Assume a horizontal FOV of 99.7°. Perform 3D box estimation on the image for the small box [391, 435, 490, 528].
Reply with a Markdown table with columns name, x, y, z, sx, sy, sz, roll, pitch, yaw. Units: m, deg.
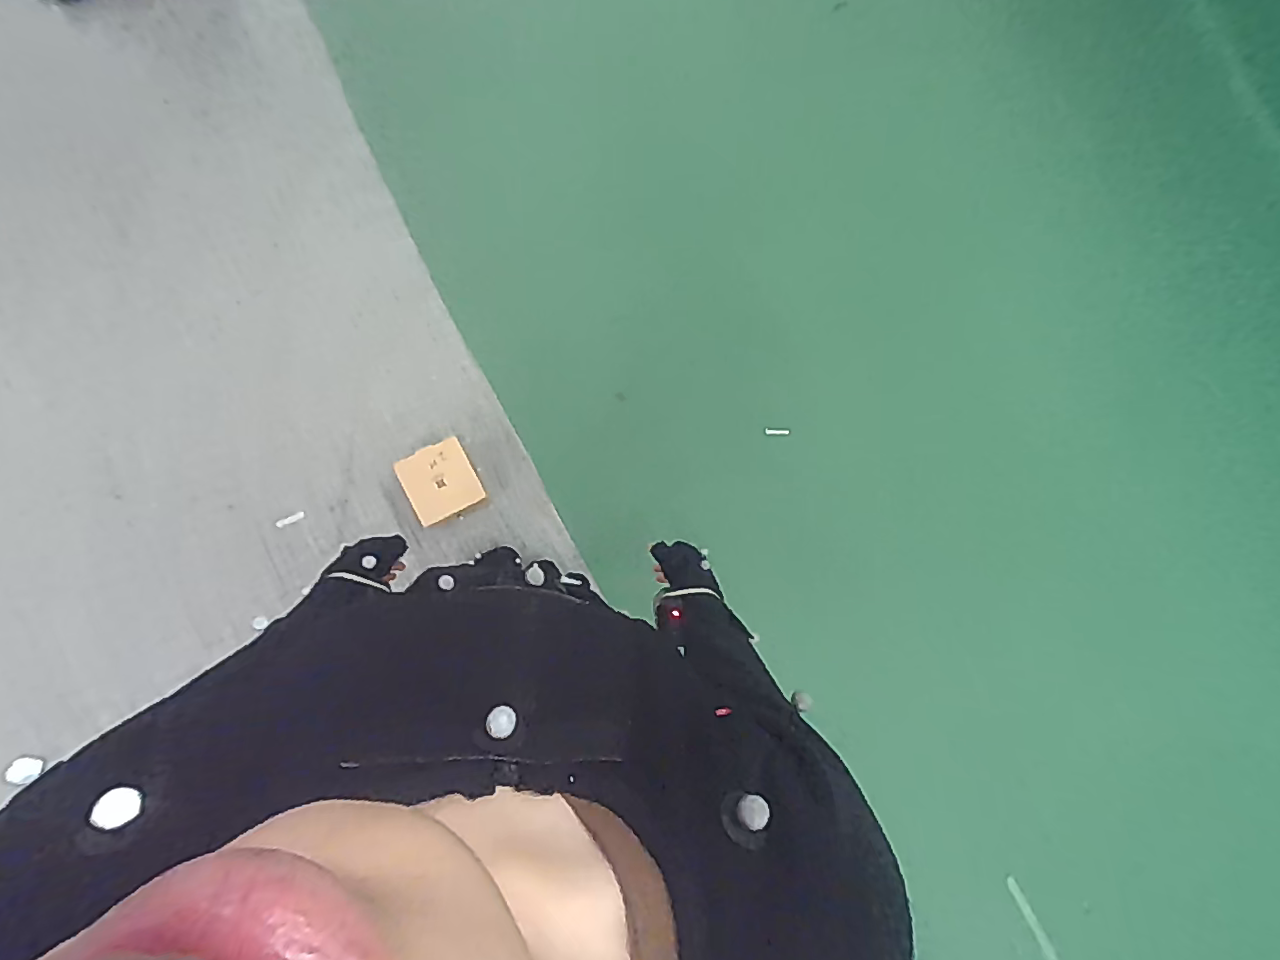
| name | x | y | z | sx | sy | sz | roll | pitch | yaw |
| --- | --- | --- | --- | --- | --- | --- | --- | --- | --- |
| small box | -0.497 | 0.009 | 1.377 | 0.168 | 0.176 | 0.179 | -28 | 89 | -12 |
